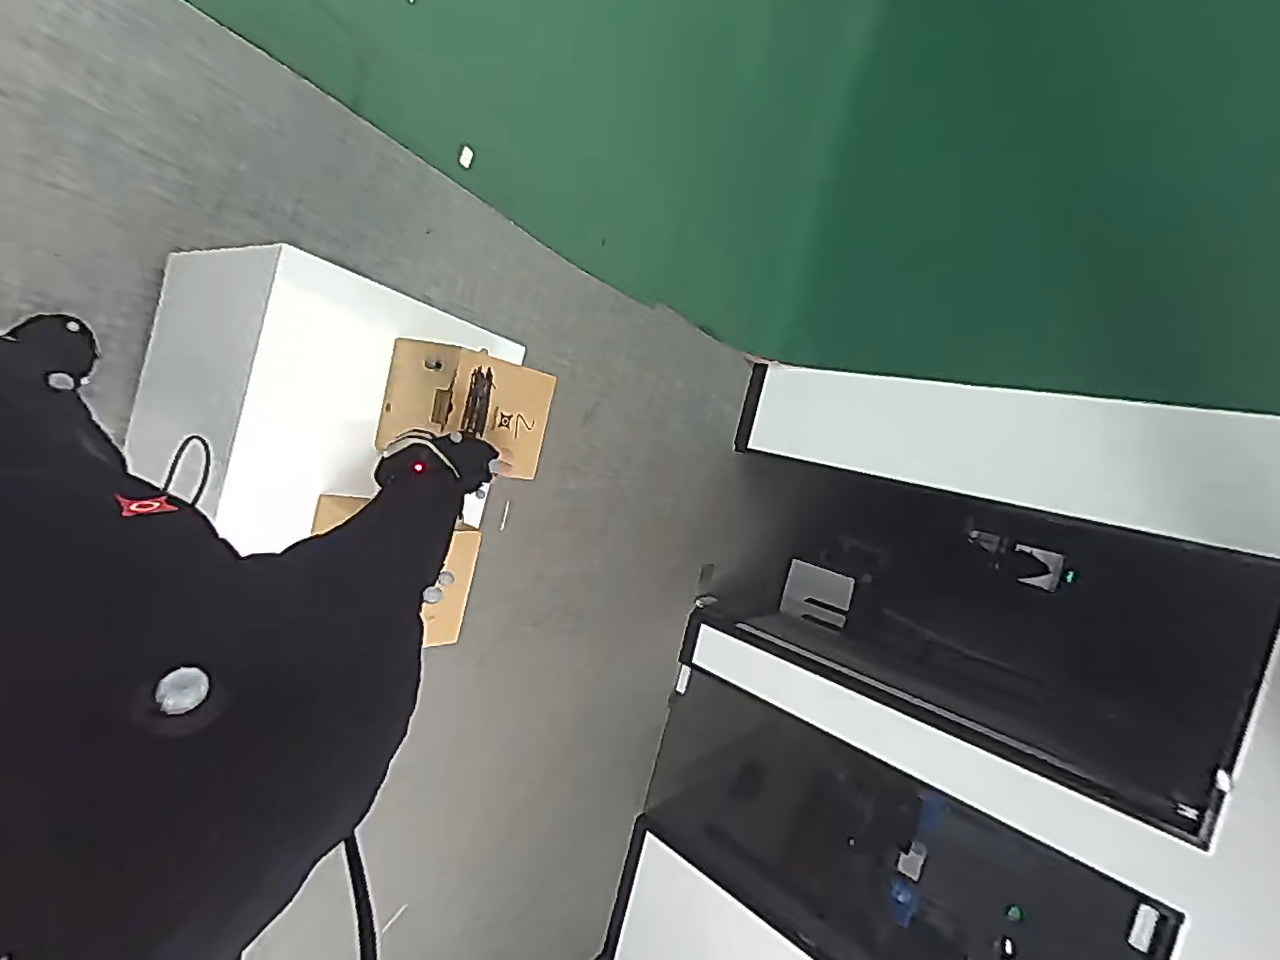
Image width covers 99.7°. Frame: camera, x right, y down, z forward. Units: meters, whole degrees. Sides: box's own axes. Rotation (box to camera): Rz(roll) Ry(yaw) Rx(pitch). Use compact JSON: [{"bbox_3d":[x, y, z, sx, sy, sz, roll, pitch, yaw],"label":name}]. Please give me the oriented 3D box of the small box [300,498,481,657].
[{"bbox_3d":[-0.362,0.130,0.781,0.168,0.176,0.179,10,95,-52],"label":"small box"}]
